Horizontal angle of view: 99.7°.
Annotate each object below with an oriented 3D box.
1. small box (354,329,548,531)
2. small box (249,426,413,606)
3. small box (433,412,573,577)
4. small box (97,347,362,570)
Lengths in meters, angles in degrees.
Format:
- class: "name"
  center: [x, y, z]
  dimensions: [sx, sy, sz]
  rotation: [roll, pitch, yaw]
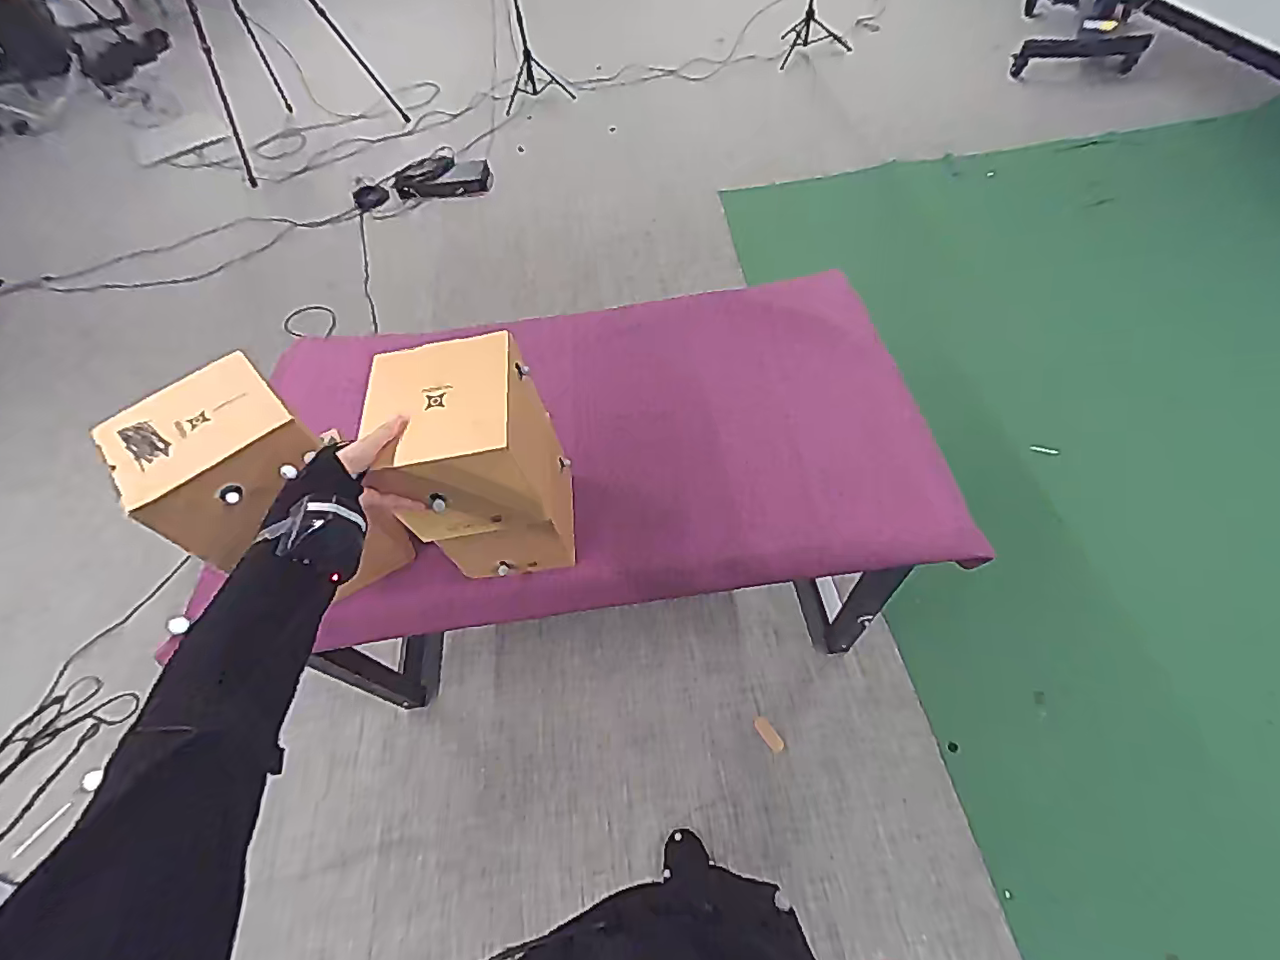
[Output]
- class: "small box"
  center: [-0.213, -0.050, 0.660]
  dimensions: [0.168, 0.176, 0.179]
  rotation: [-10, 57, 1]
- class: "small box"
  center: [-0.475, 0.059, 0.809]
  dimensions: [0.179, 0.176, 0.168]
  rotation: [-29, 58, -14]
- class: "small box"
  center: [-0.197, 0.026, 0.805]
  dimensions: [0.168, 0.176, 0.179]
  rotation: [-8, 57, 2]
- class: "small box"
  center: [-0.488, -0.022, 0.665]
  dimensions: [0.179, 0.176, 0.168]
  rotation: [-39, 61, -21]
